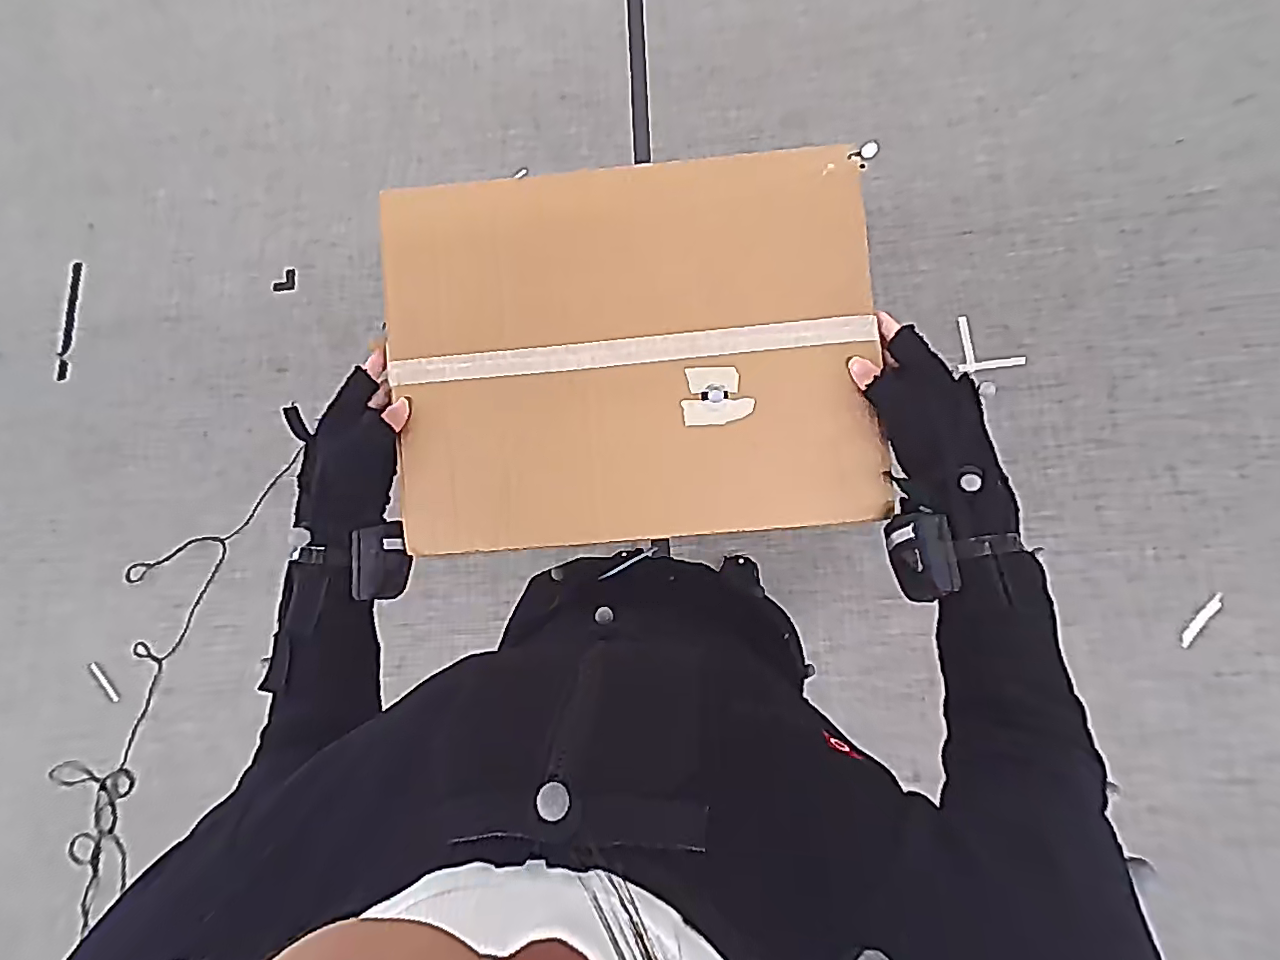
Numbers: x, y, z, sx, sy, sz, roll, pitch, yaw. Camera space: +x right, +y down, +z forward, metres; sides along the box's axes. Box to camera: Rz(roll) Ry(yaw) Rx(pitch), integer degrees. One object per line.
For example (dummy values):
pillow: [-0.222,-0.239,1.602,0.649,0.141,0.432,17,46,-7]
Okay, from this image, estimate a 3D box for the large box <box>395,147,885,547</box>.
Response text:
large box: [-0.002,-0.111,0.611,0.408,0.320,0.320,-5,89,1]
